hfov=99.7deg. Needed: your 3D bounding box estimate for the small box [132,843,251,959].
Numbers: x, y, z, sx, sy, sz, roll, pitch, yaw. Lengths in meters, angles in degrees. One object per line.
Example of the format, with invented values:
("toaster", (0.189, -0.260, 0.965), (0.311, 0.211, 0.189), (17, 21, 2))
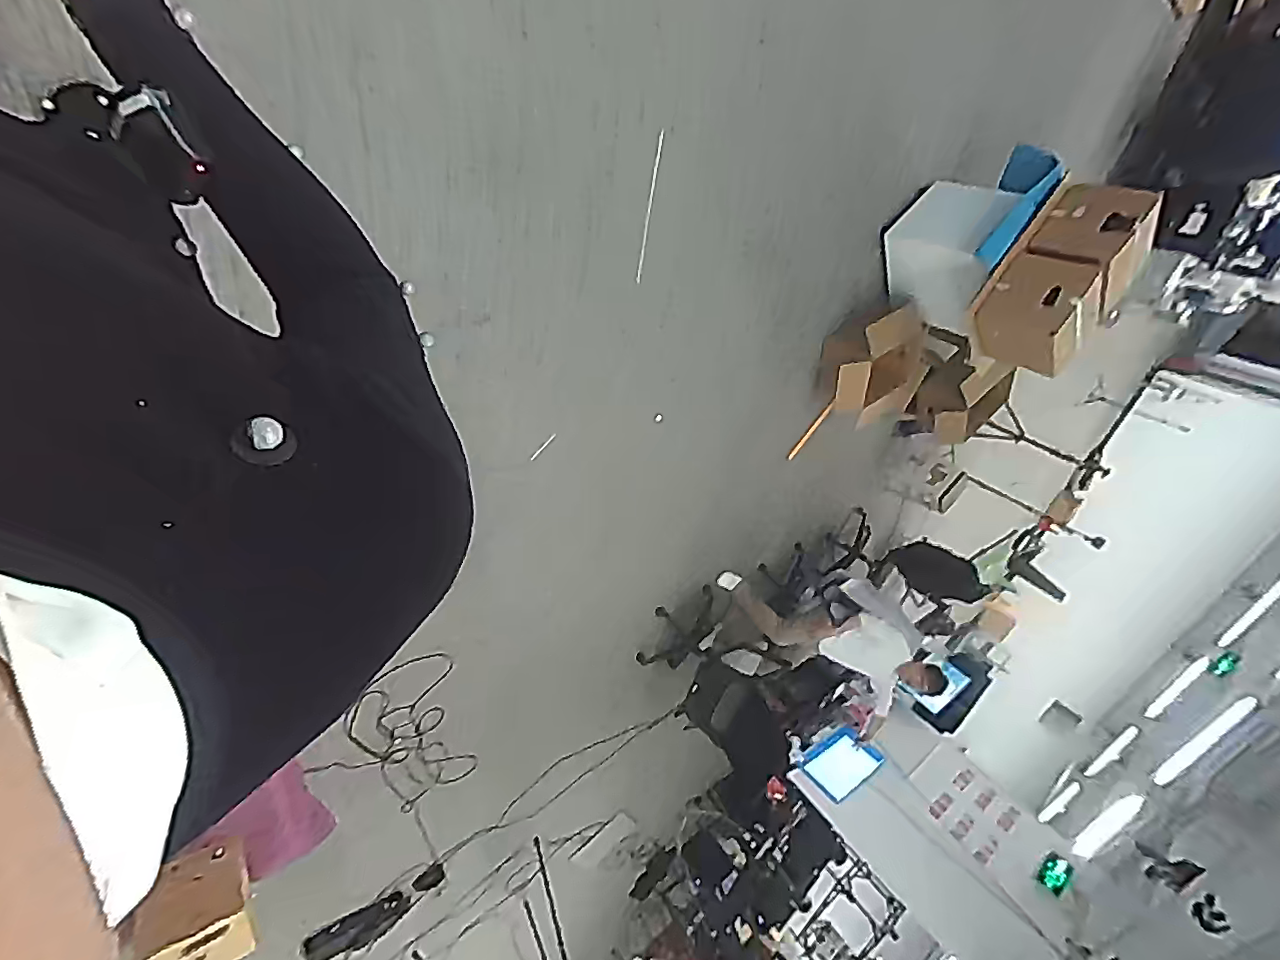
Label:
("small box", (-0.913, 0.890, 1.104), (0.168, 0.176, 0.179), (-10, 125, -37))
